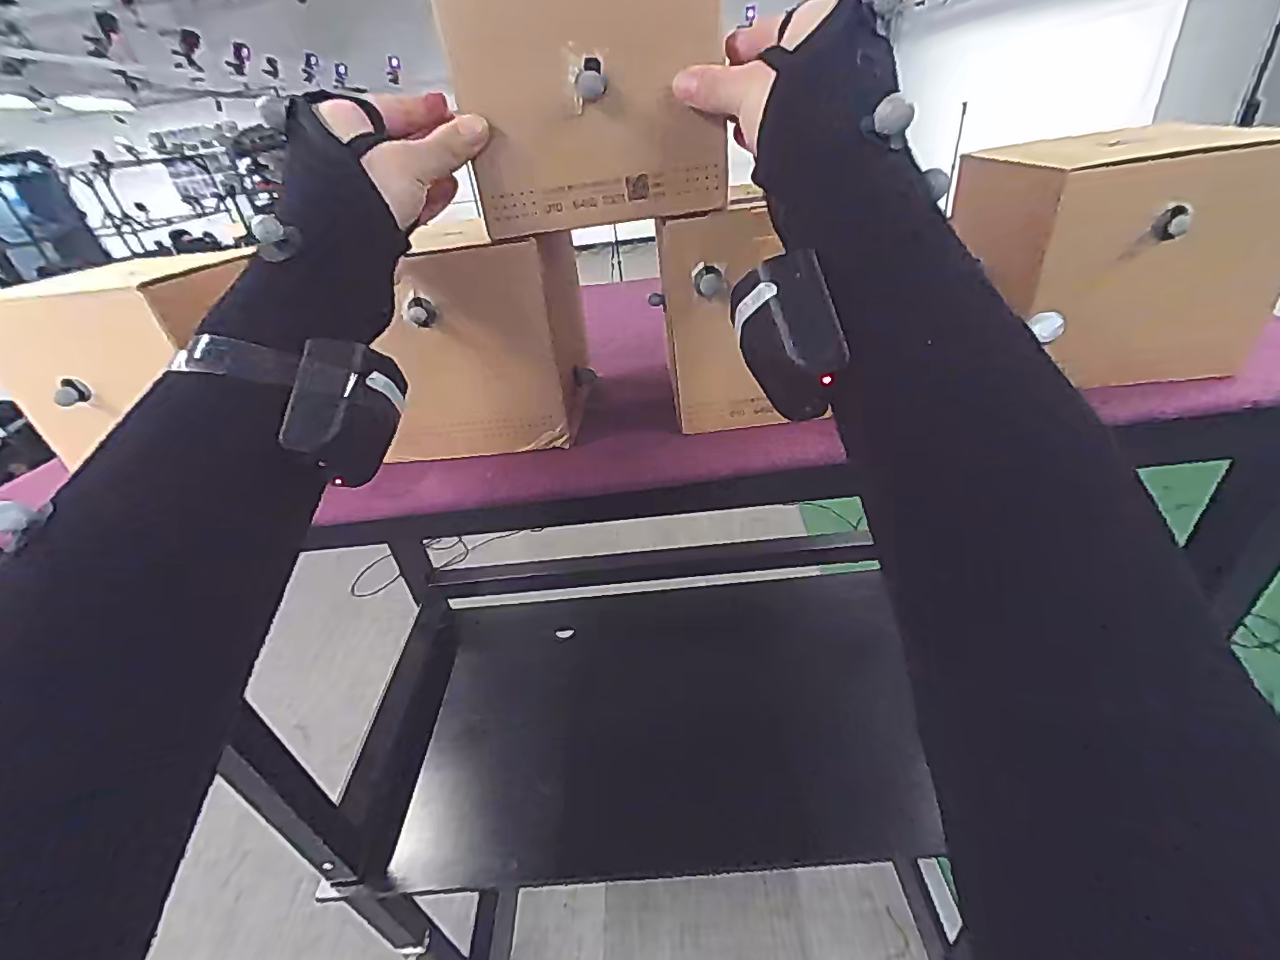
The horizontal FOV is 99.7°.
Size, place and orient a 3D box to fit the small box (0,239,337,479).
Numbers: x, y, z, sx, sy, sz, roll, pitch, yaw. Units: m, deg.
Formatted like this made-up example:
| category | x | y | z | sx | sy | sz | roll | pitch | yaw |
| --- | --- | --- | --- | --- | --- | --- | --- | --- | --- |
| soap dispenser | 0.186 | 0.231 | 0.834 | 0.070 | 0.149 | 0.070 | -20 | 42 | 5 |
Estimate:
| category | x | y | z | sx | sy | sz | roll | pitch | yaw |
| --- | --- | --- | --- | --- | --- | --- | --- | --- | --- |
| small box | -0.423 | -0.110 | 0.501 | 0.168 | 0.176 | 0.179 | -4 | 32 | 6 |

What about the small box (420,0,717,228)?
| category | x | y | z | sx | sy | sz | roll | pitch | yaw |
| --- | --- | --- | --- | --- | --- | --- | --- | --- | --- |
| small box | -0.041 | -0.289 | 0.389 | 0.168 | 0.176 | 0.179 | -8 | 33 | 1 |
